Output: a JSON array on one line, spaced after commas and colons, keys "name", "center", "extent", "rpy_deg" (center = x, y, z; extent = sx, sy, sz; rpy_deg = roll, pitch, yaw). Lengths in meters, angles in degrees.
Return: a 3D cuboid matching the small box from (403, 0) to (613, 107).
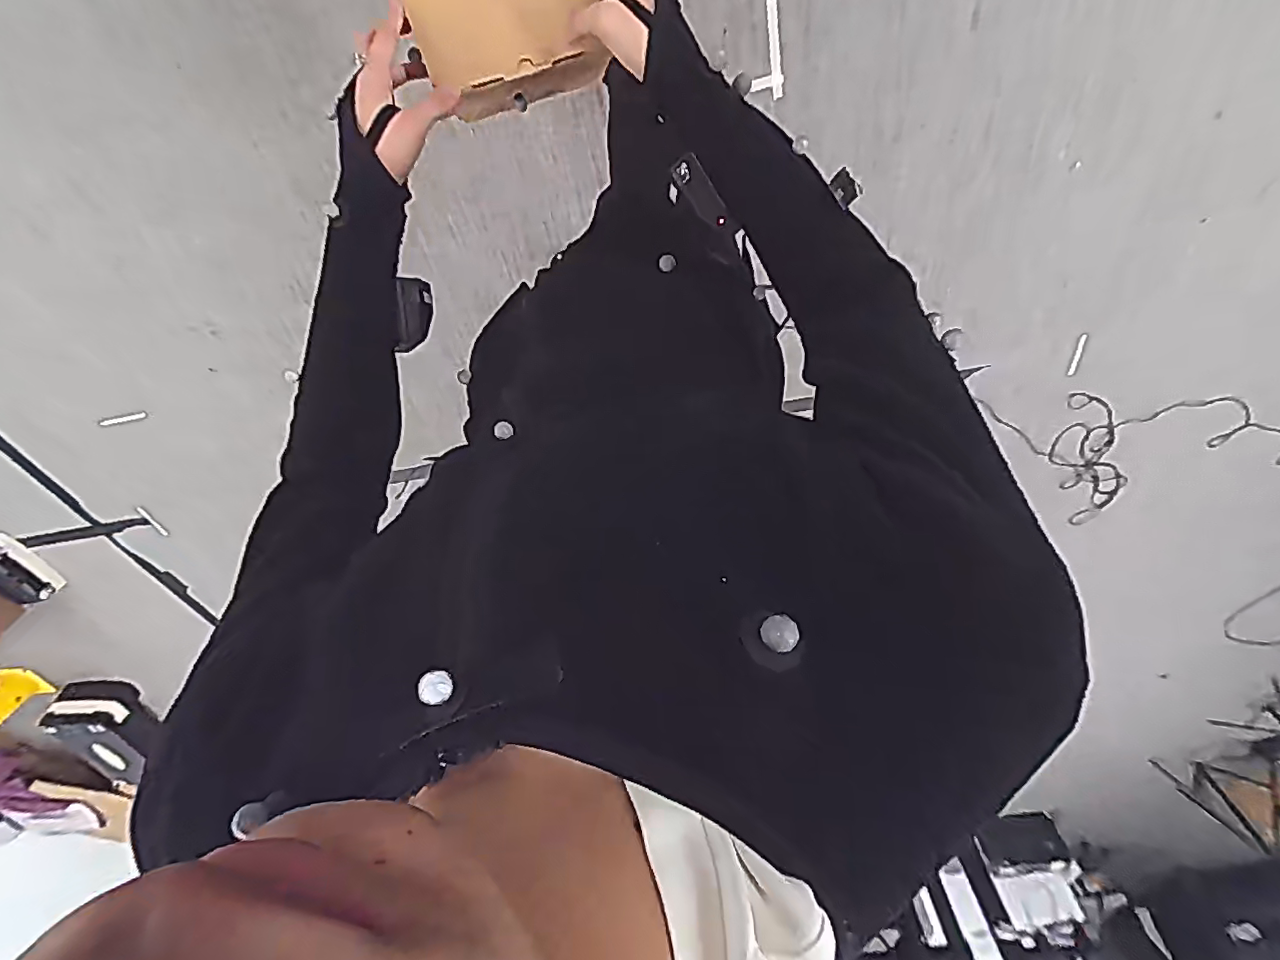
[{"name": "small box", "center": [-0.134, -0.472, 0.491], "extent": [0.168, 0.176, 0.179], "rpy_deg": [-17, 120, 0]}]
